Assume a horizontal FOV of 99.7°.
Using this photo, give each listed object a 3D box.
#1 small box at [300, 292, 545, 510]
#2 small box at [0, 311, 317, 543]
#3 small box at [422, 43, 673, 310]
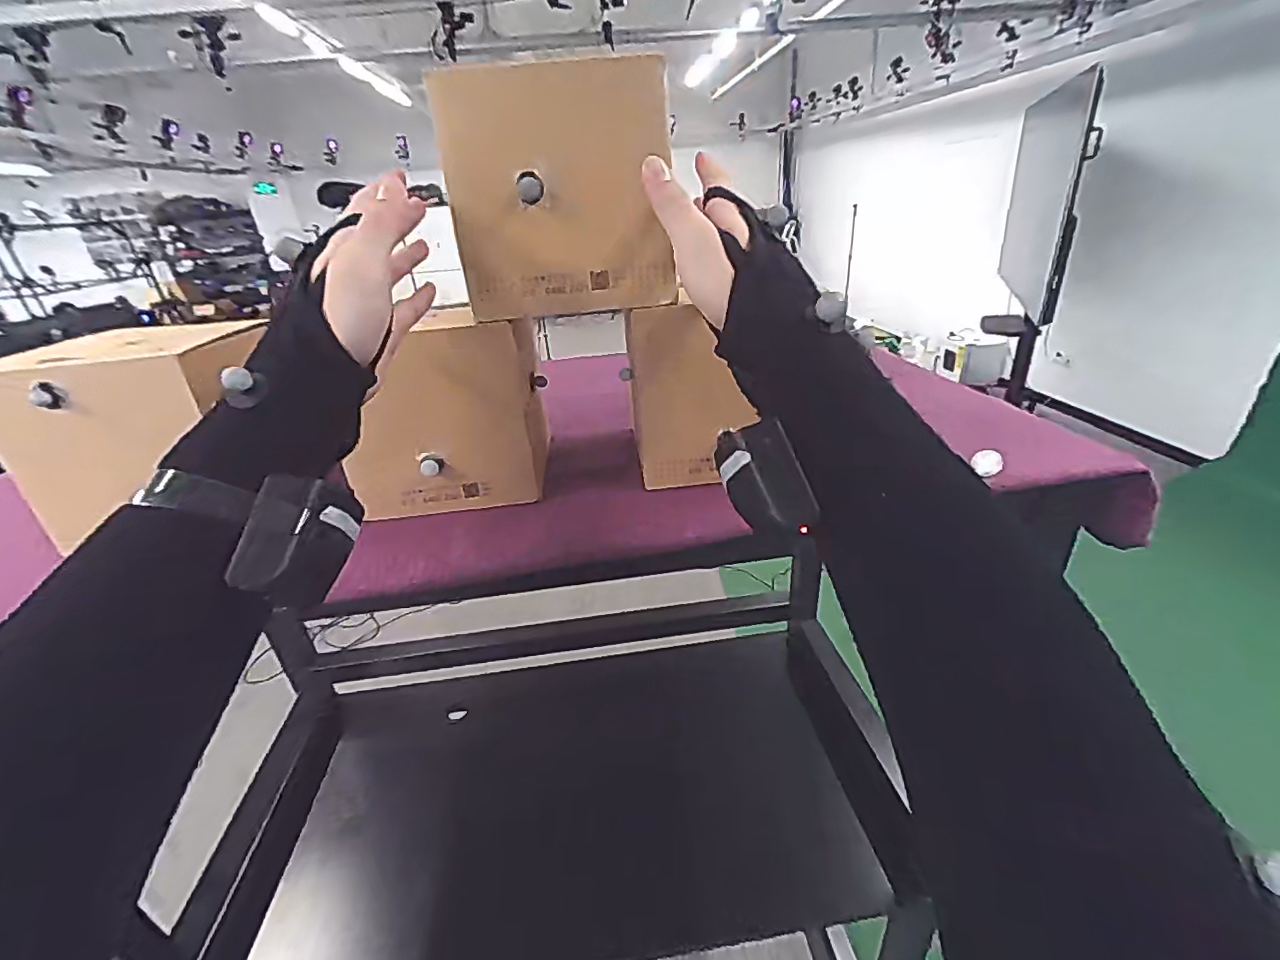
[{"bbox_3d":[-0.190,-0.087,0.536,0.168,0.176,0.179,-6,27,-3],"label":"small box"},{"bbox_3d":[-0.441,-0.059,0.515,0.168,0.176,0.179,-7,25,-4],"label":"small box"},{"bbox_3d":[-0.065,-0.246,0.471,0.168,0.176,0.179,-6,26,-2],"label":"small box"}]
